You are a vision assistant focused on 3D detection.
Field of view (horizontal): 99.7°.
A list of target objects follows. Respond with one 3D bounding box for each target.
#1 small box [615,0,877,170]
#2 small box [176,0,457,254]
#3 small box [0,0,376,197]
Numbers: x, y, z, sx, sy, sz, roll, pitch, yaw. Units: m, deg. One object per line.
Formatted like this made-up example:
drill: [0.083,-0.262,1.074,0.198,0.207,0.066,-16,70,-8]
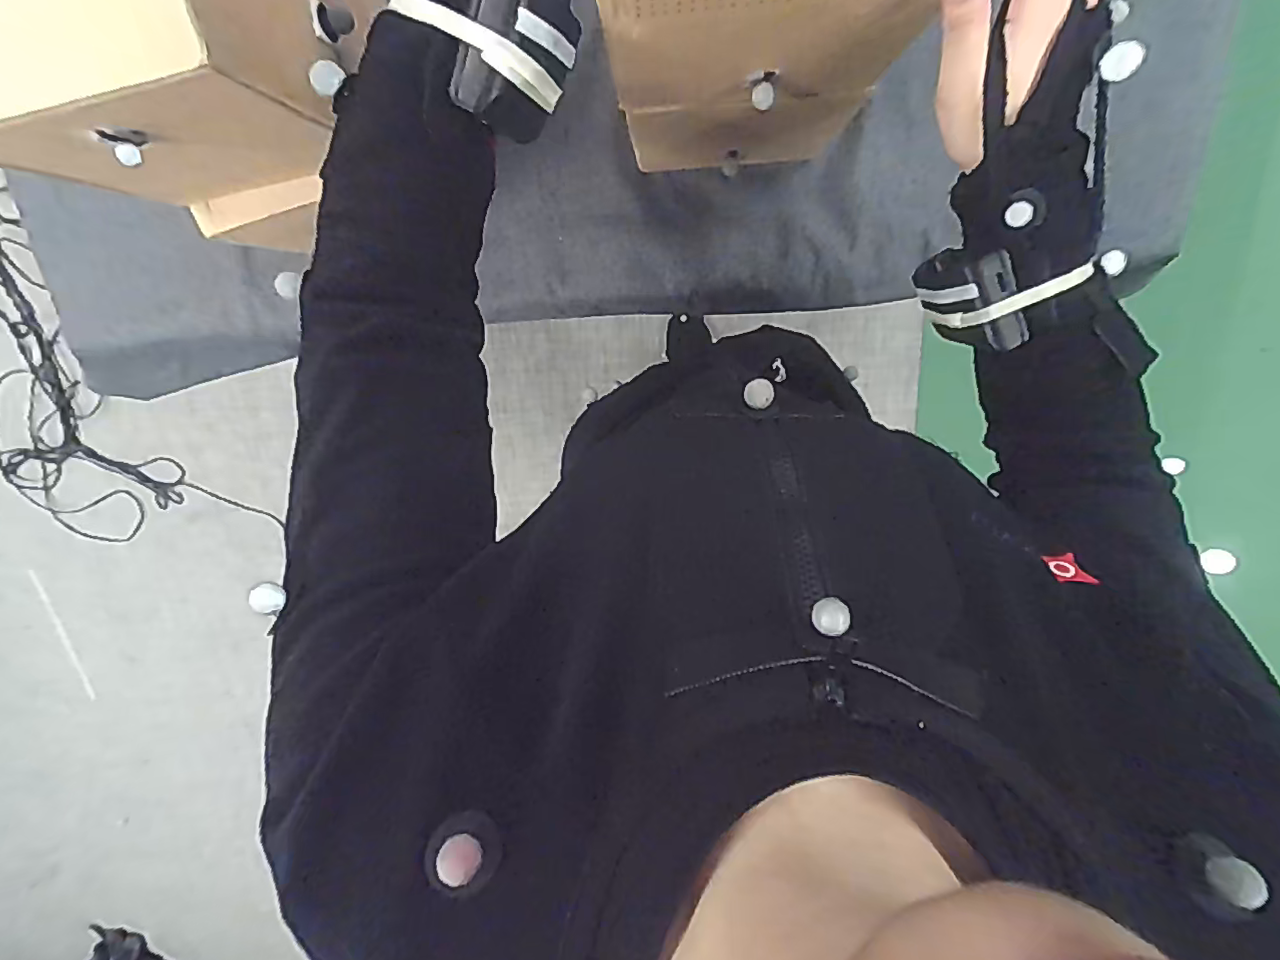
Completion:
small box: [0.072,-0.362,0.432,0.179,0.176,0.168,-2,107,3]
small box: [-0.286,-0.313,0.468,0.168,0.176,0.179,-13,107,7]
small box: [-0.293,-0.278,0.310,0.179,0.176,0.168,-9,108,4]
